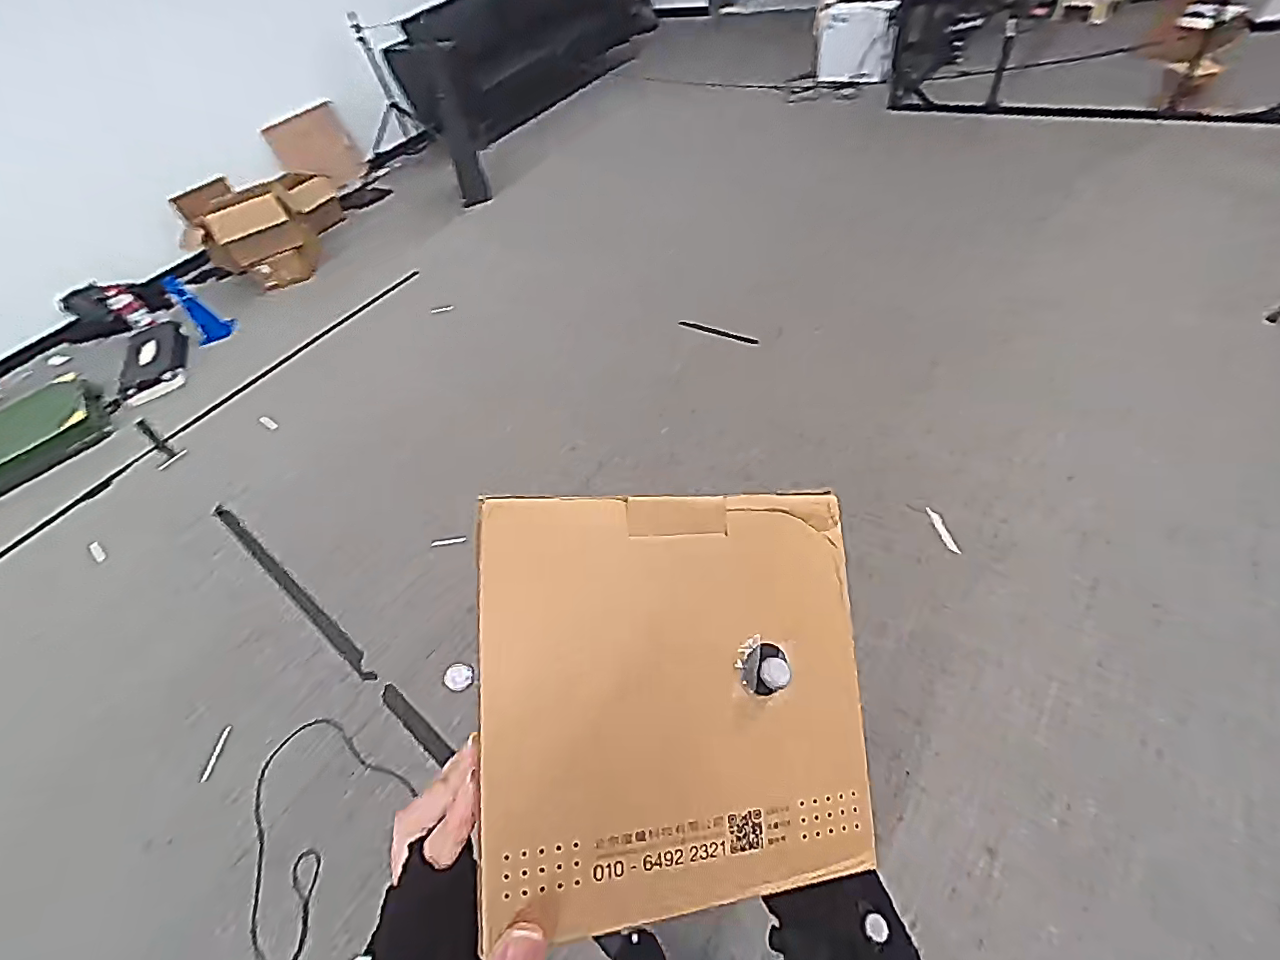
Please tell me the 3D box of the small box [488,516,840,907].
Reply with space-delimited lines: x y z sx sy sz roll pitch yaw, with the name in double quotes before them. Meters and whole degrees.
"small box" -0.003 0.115 0.321 0.168 0.179 0.176 0 81 -15
